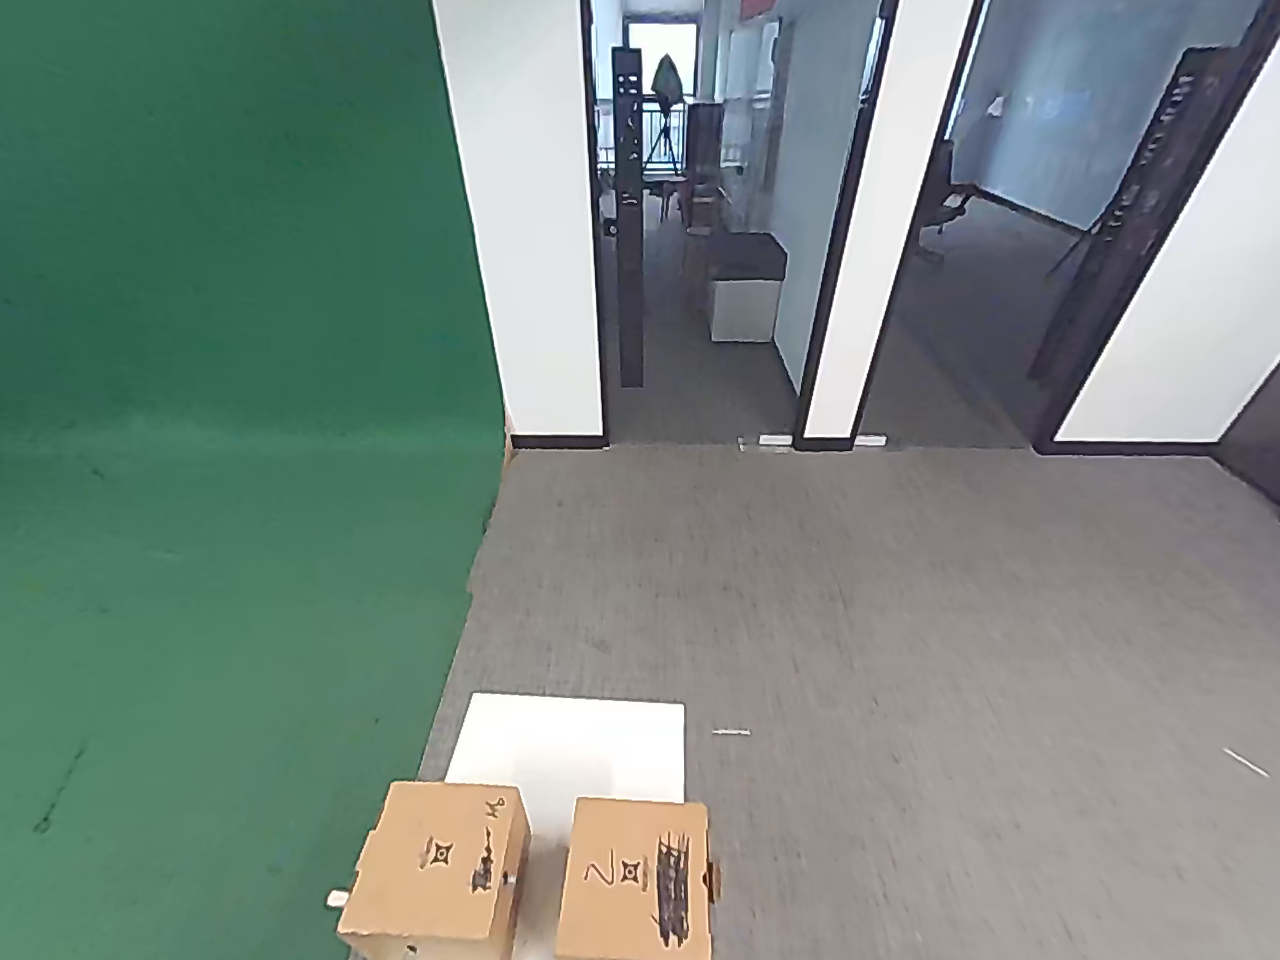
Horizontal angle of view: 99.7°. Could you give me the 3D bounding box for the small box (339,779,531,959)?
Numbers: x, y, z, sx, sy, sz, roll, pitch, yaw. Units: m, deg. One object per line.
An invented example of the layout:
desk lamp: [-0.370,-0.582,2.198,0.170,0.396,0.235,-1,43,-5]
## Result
small box: [-0.254,0.524,0.721,0.179,0.176,0.168,2,39,1]
